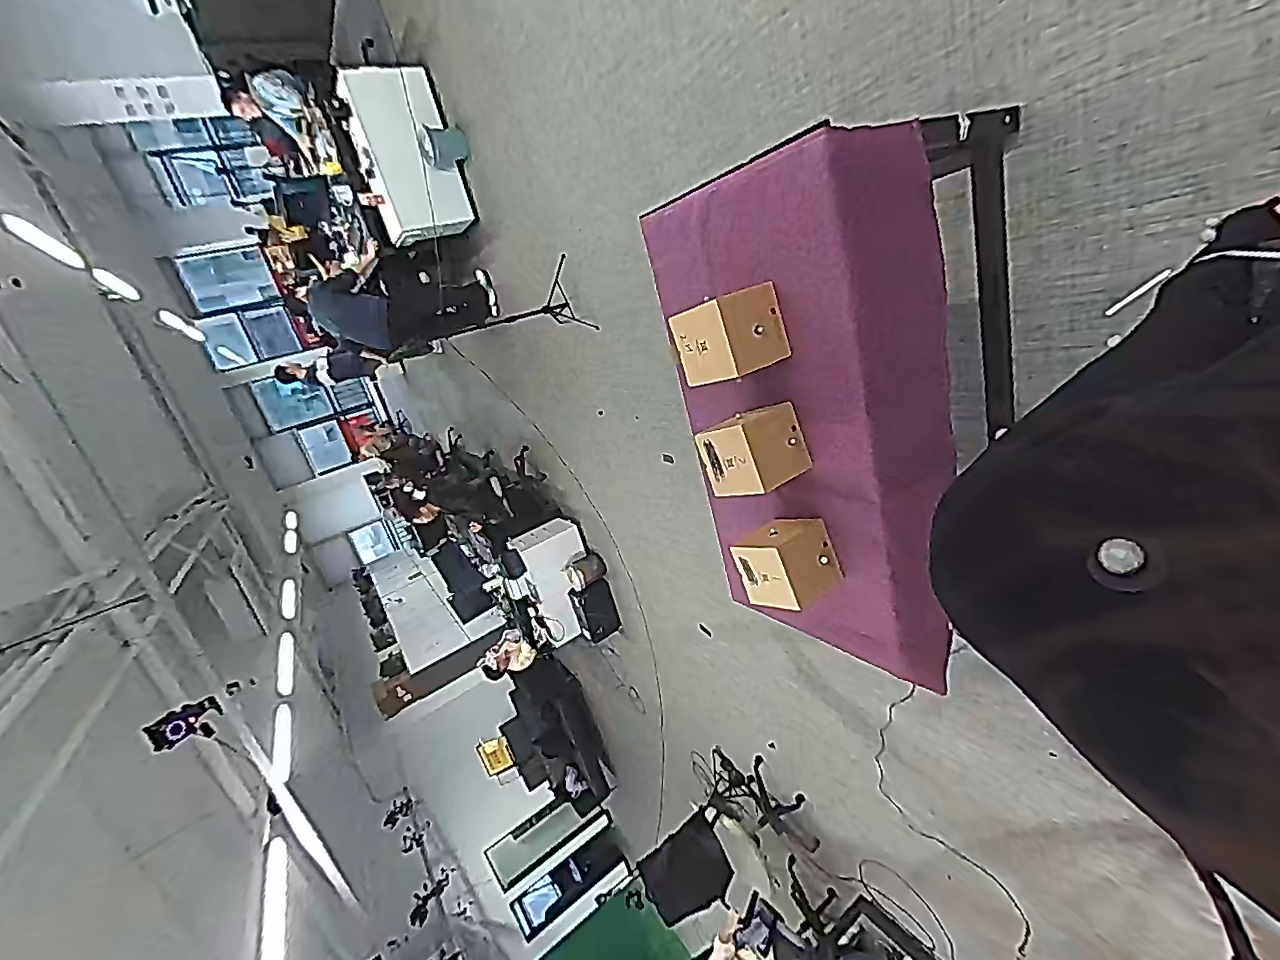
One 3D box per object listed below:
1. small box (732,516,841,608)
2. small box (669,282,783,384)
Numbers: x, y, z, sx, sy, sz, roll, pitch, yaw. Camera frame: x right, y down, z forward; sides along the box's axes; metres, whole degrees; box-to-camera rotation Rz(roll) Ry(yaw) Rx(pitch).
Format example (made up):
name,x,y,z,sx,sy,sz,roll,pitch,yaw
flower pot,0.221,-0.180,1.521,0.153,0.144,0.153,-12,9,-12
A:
name,x,y,z,sx,sy,sz,roll,pitch,yaw
small box,0.368,0.199,1.361,0.179,0.176,0.168,-10,104,62
small box,0.198,-0.327,1.209,0.179,0.176,0.168,5,117,60
